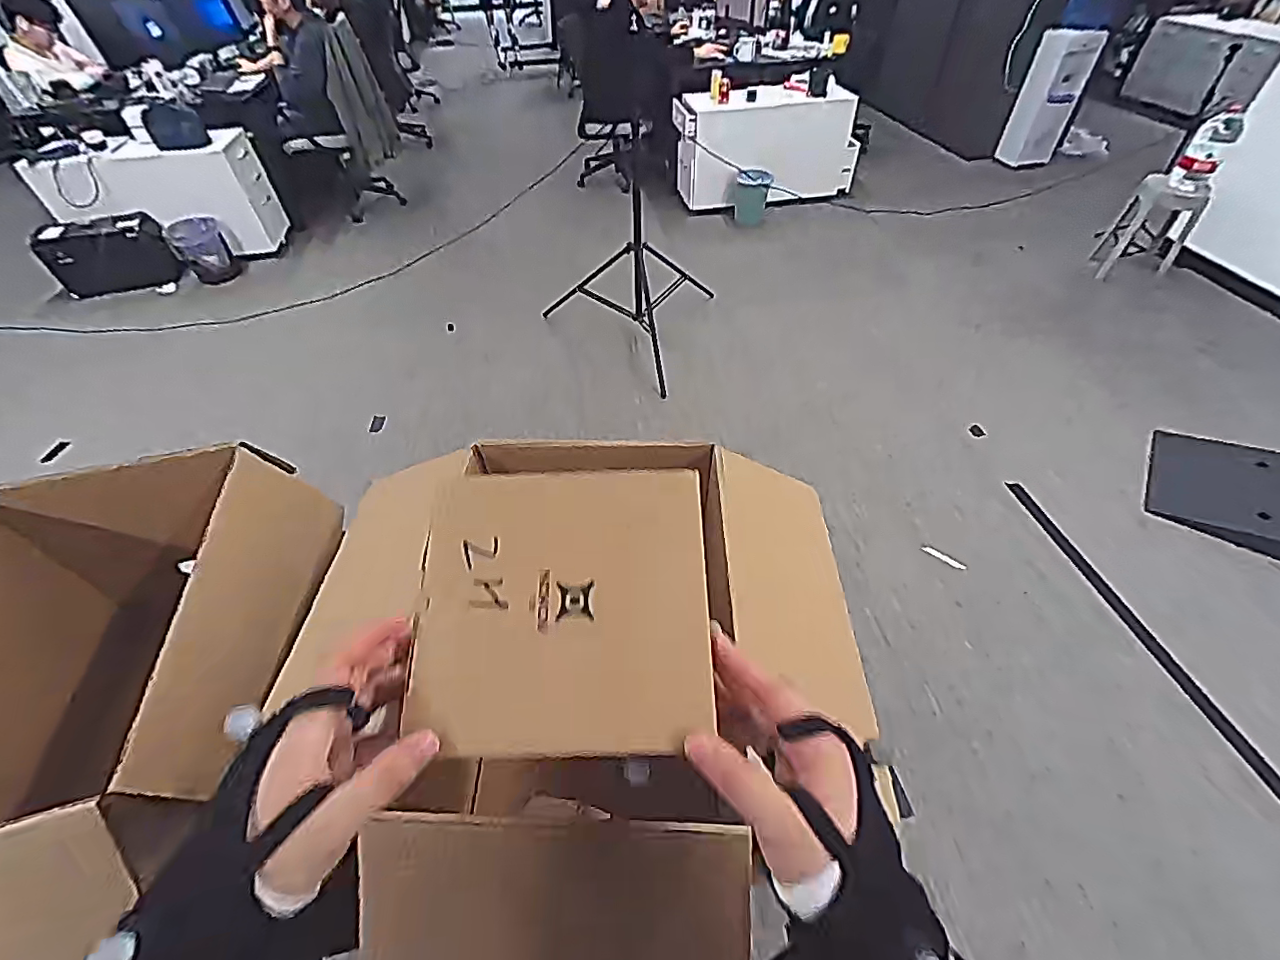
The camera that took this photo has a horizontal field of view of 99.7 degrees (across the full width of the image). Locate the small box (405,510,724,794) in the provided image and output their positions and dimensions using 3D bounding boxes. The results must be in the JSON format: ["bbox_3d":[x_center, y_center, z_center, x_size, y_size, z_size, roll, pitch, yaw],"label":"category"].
[{"bbox_3d":[-0.041,0.128,0.397,0.179,0.176,0.168,-1,64,1],"label":"small box"}]
